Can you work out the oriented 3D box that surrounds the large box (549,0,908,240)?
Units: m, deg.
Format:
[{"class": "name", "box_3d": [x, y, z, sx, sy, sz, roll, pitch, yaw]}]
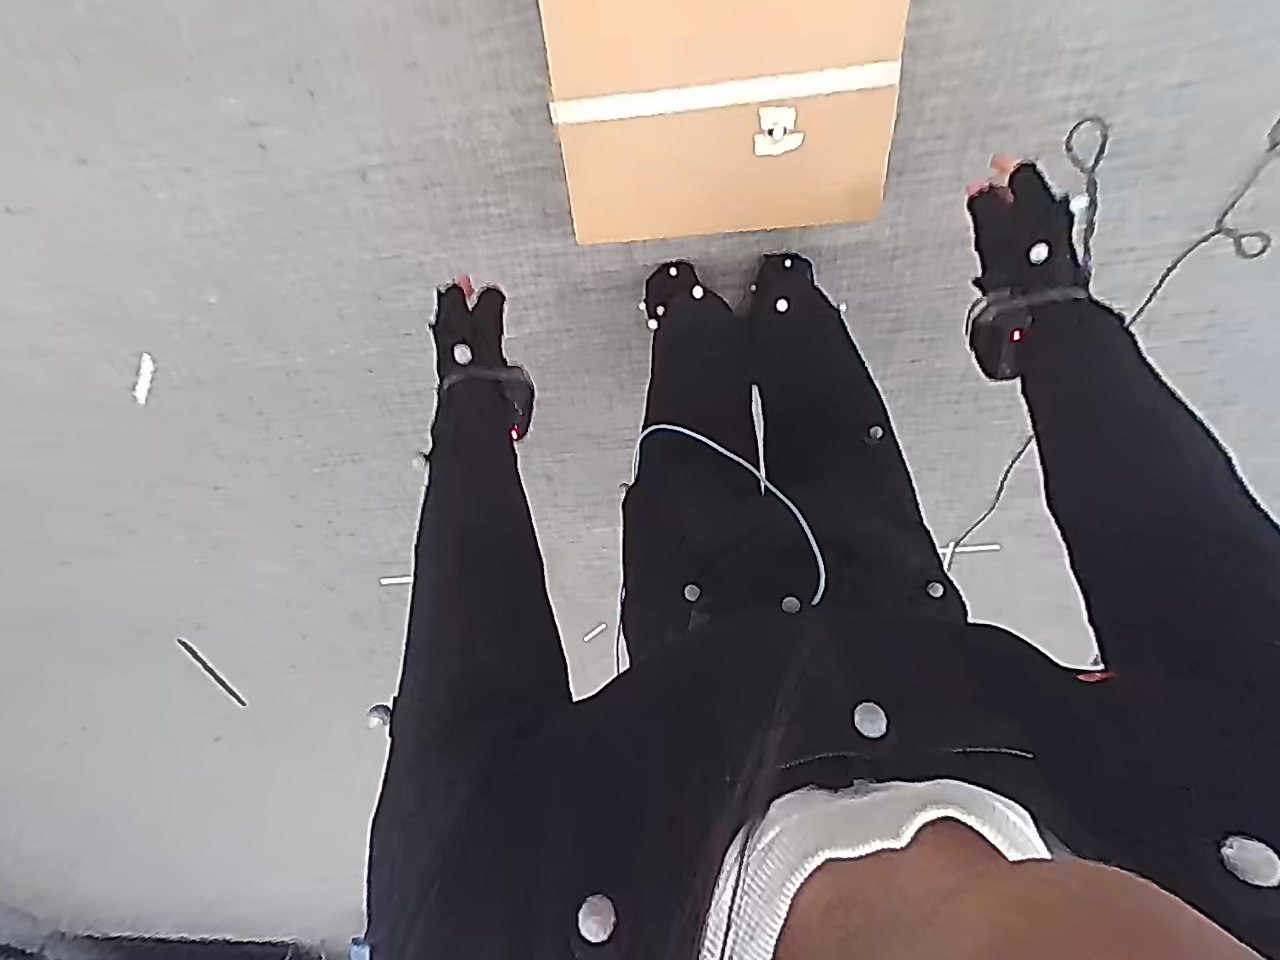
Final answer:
[{"class": "large box", "box_3d": [0.111, -0.557, 0.771, 0.408, 0.320, 0.320, -3, 126, 6]}]
